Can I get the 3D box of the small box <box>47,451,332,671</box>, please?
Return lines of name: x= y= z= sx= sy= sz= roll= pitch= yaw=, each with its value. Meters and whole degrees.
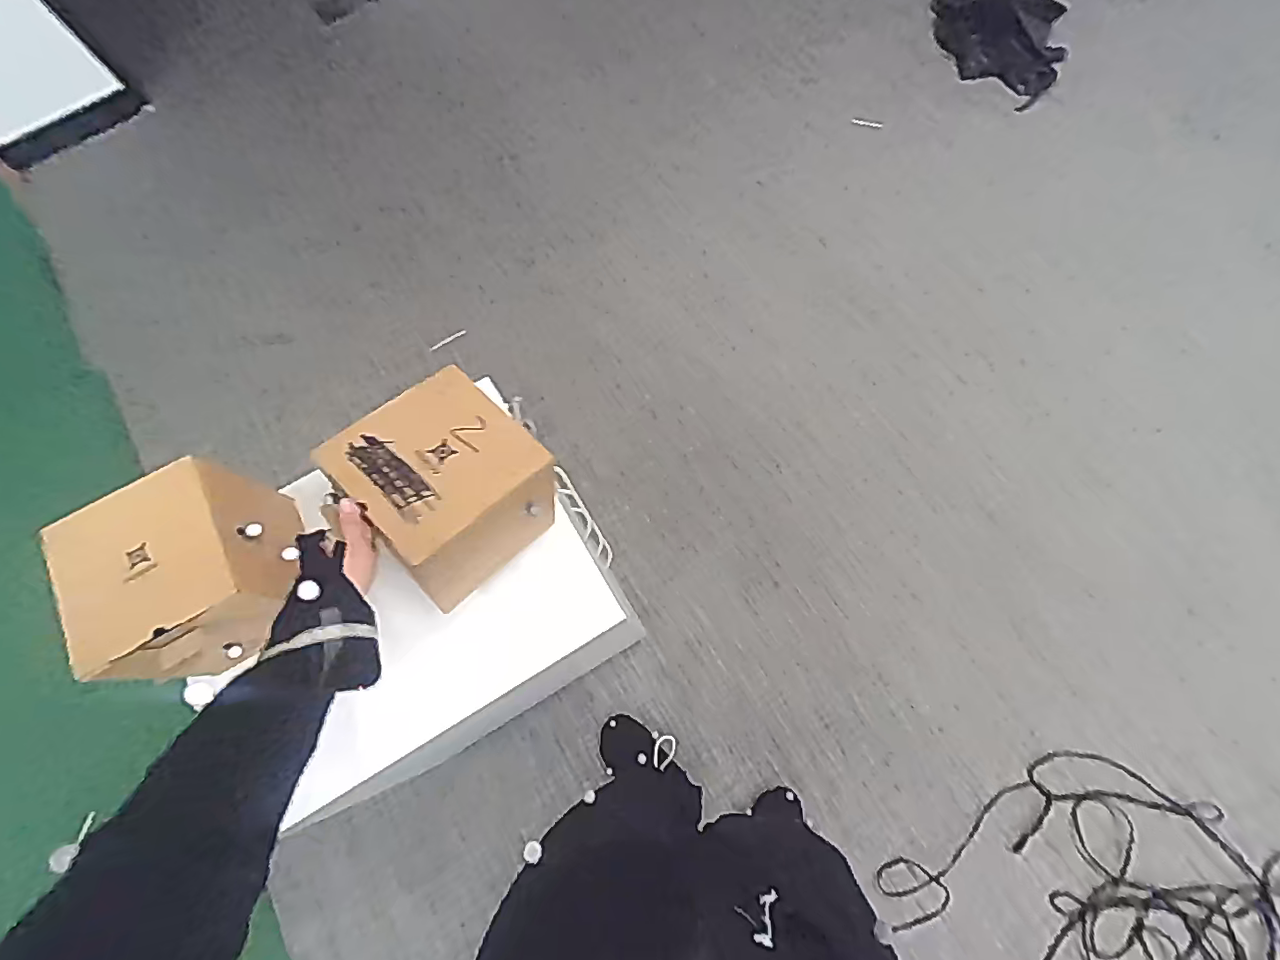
small box: x=-0.500 y=0.101 z=0.623 sx=0.168 sy=0.176 sz=0.179 roll=-30 pitch=74 yaw=-7
